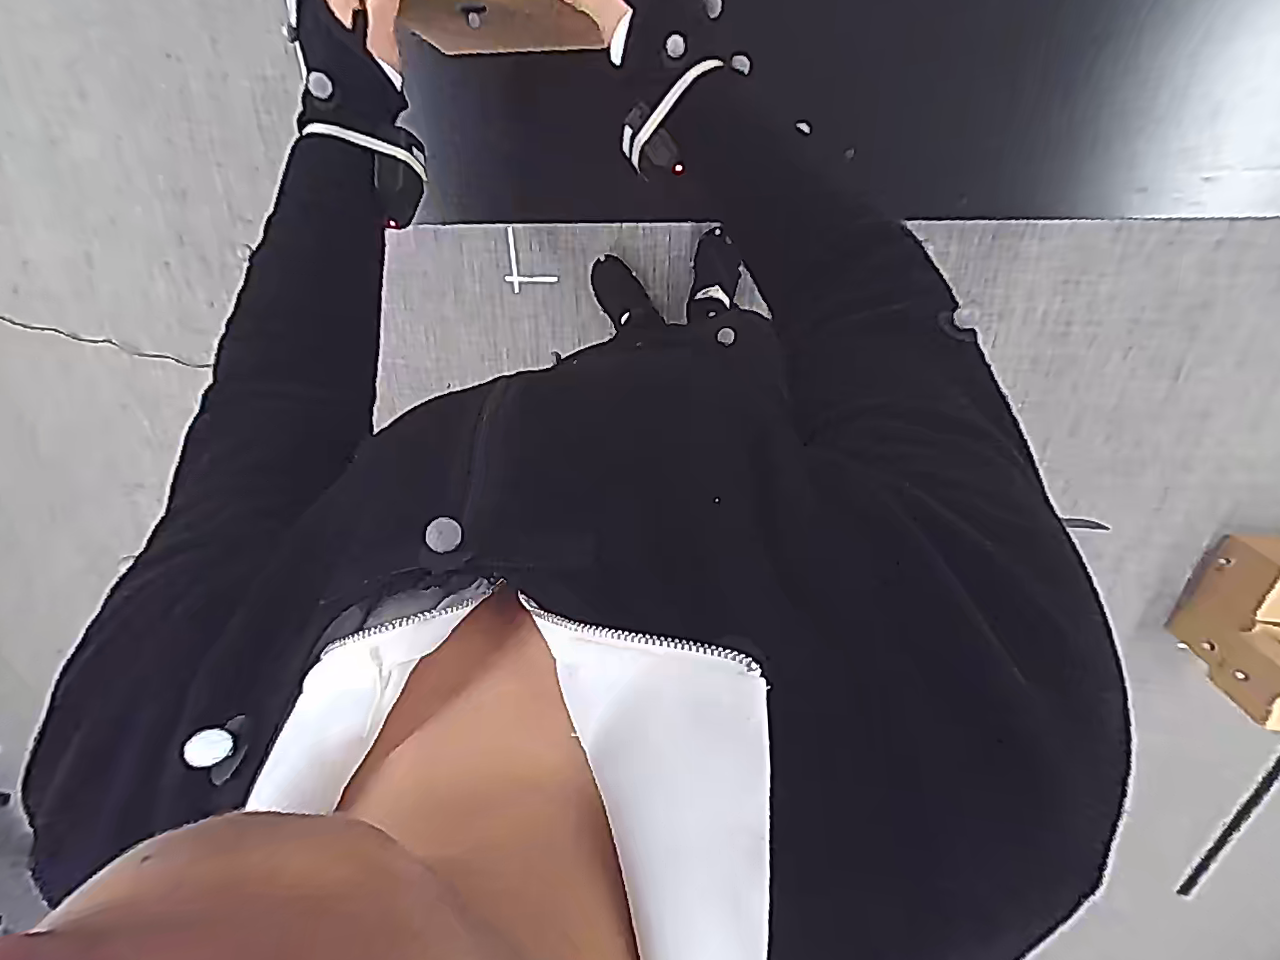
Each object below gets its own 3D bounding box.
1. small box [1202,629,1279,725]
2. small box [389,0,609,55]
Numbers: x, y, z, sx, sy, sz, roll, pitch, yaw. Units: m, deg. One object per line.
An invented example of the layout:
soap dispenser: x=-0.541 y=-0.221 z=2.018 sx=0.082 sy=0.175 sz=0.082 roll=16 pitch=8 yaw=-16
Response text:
small box: x=1.615 y=0.501 z=1.376 sx=0.179 sy=0.176 sz=0.168 roll=4 pitch=116 yaw=5
small box: x=-0.127 y=-0.493 z=0.468 sx=0.179 sy=0.176 sz=0.168 roll=1 pitch=115 yaw=4
